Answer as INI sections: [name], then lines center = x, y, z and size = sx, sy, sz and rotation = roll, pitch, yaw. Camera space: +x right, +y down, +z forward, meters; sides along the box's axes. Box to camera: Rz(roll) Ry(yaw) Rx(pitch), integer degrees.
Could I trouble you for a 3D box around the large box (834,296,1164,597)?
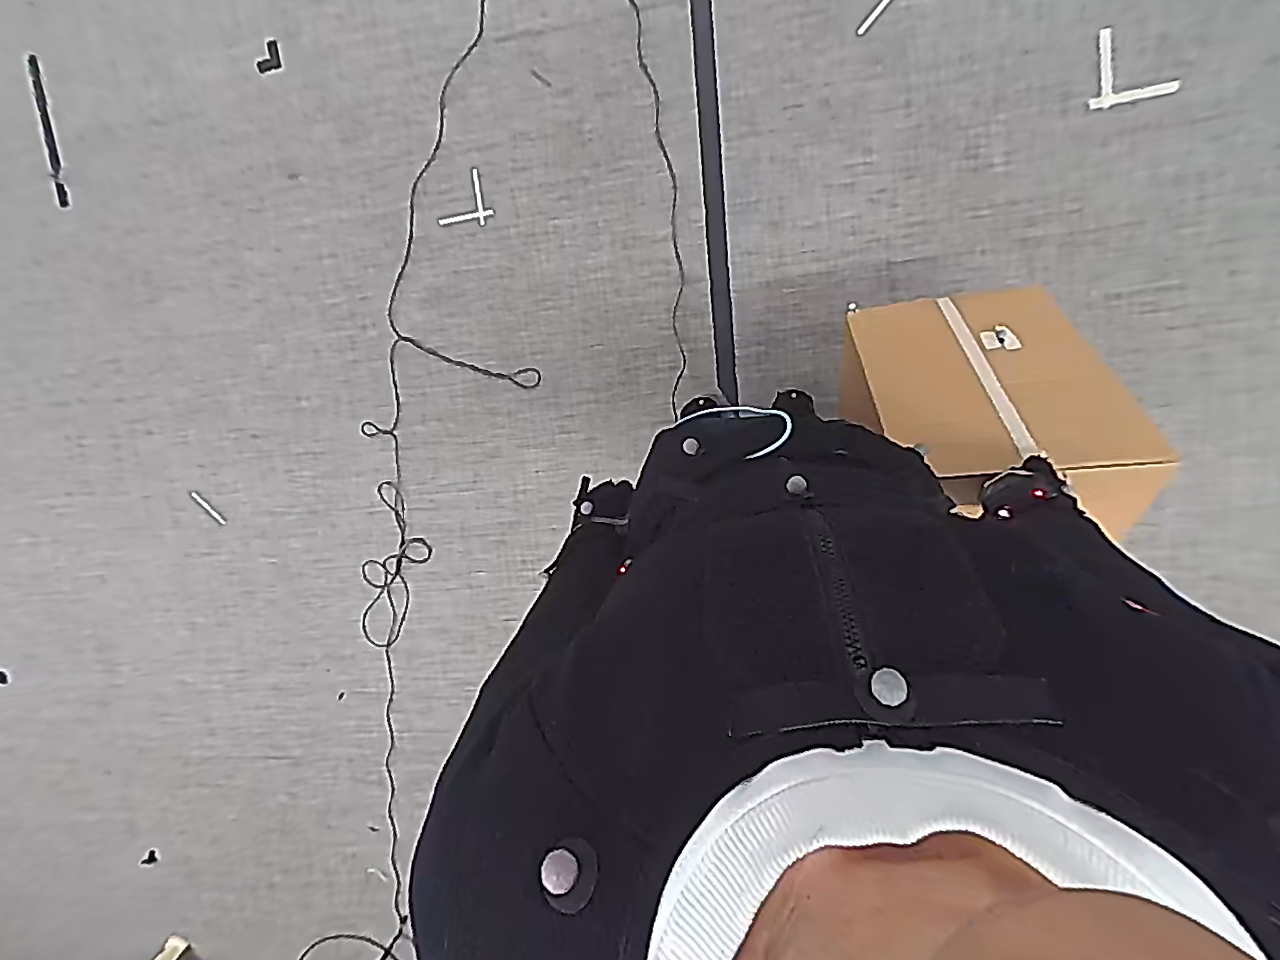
[large box]
center = 0.533, -0.055, 0.923
size = 0.320, 0.408, 0.320
rotation = -4, 137, 10
